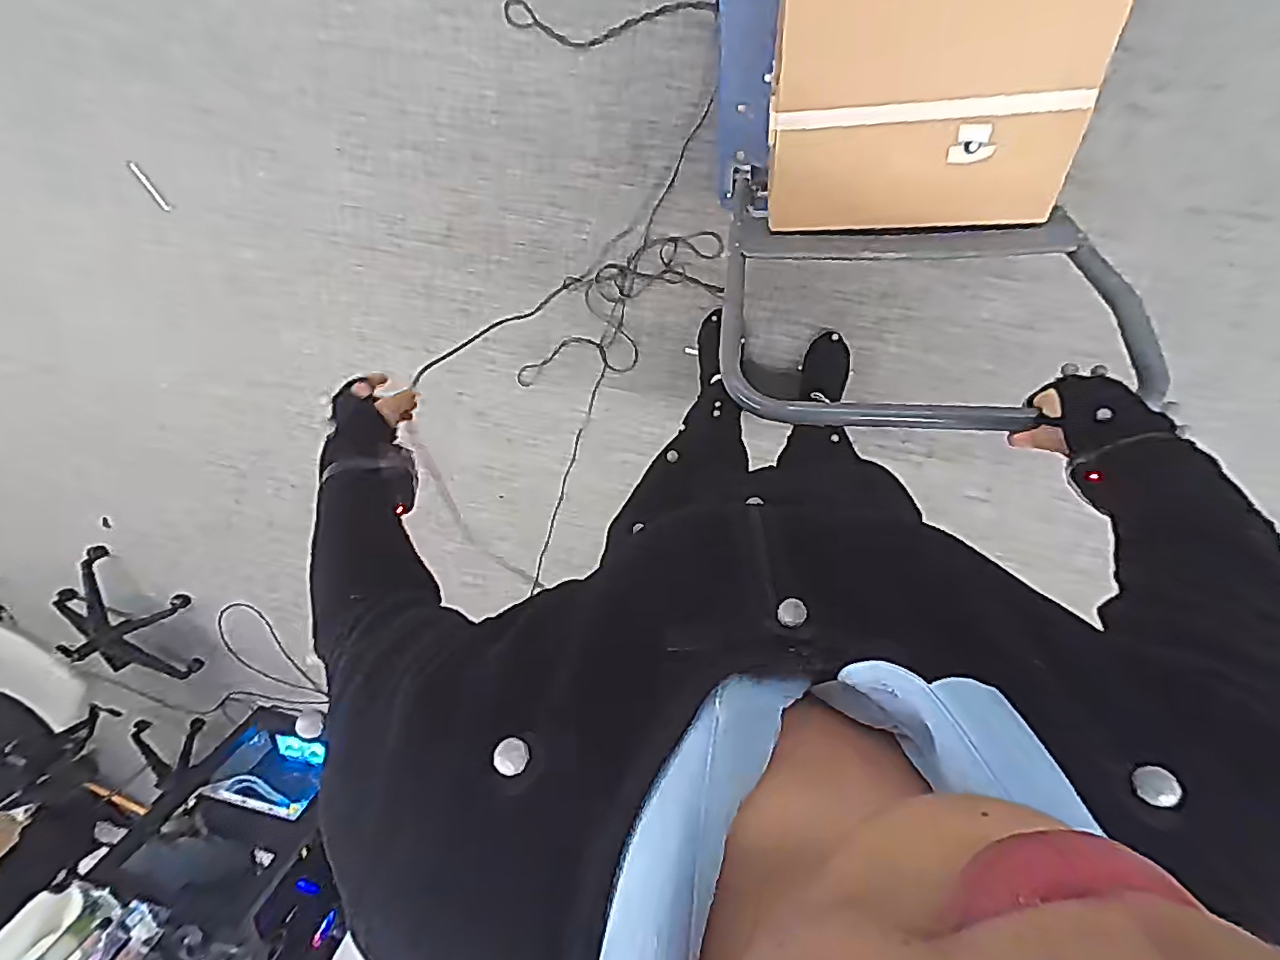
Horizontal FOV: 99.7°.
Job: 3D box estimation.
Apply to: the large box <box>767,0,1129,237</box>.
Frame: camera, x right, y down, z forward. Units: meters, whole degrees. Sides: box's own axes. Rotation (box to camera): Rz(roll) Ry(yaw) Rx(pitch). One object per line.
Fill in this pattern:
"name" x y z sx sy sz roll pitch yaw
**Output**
"large box" 0.410 -0.600 0.842 0.408 0.320 0.320 2 134 10
